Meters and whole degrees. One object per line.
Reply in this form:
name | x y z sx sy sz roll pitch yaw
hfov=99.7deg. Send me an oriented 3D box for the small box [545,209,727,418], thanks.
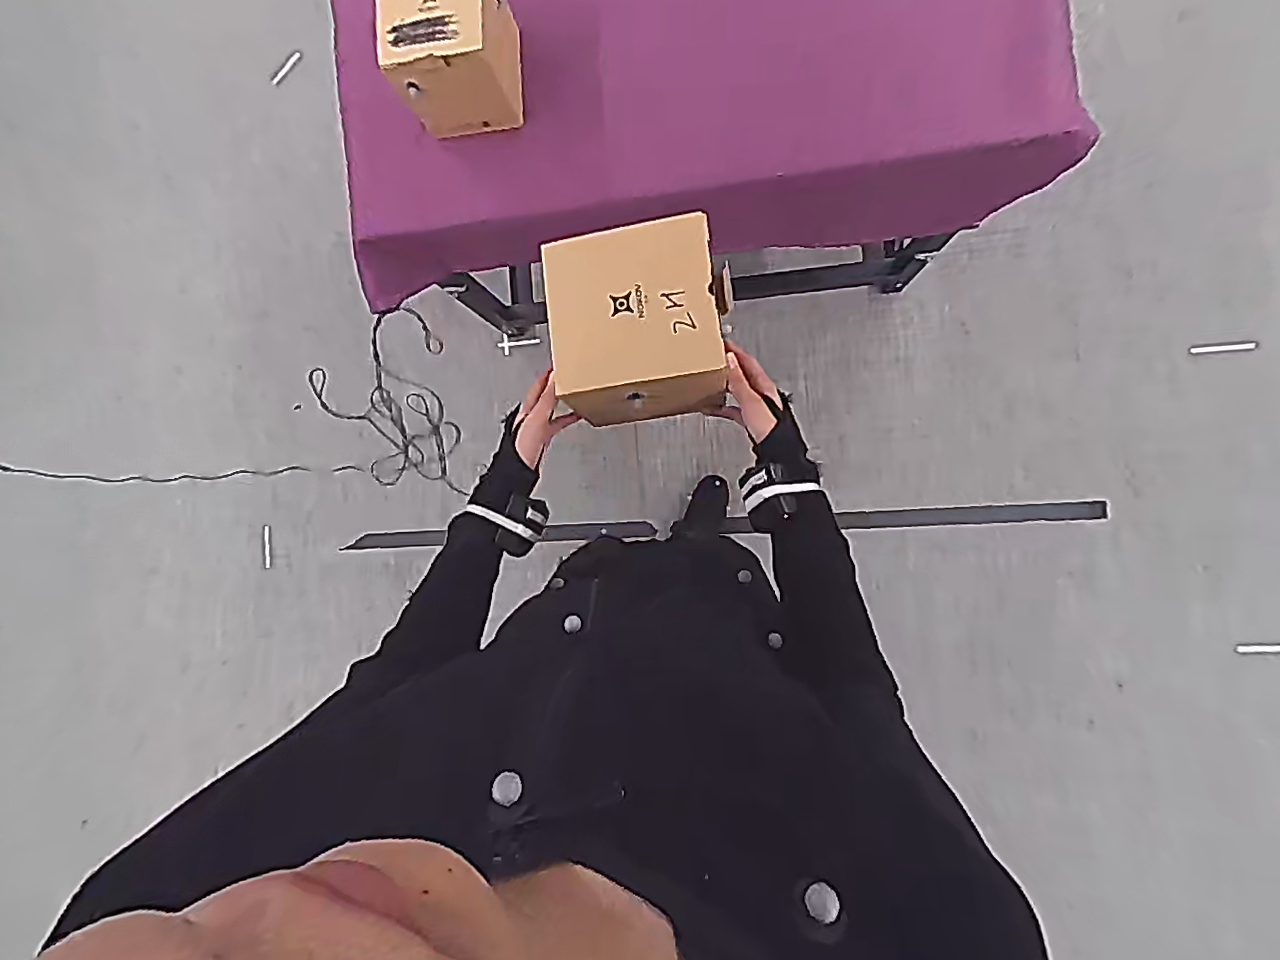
small box | 0.005 -0.175 0.625 0.179 0.176 0.168 -7 84 8
